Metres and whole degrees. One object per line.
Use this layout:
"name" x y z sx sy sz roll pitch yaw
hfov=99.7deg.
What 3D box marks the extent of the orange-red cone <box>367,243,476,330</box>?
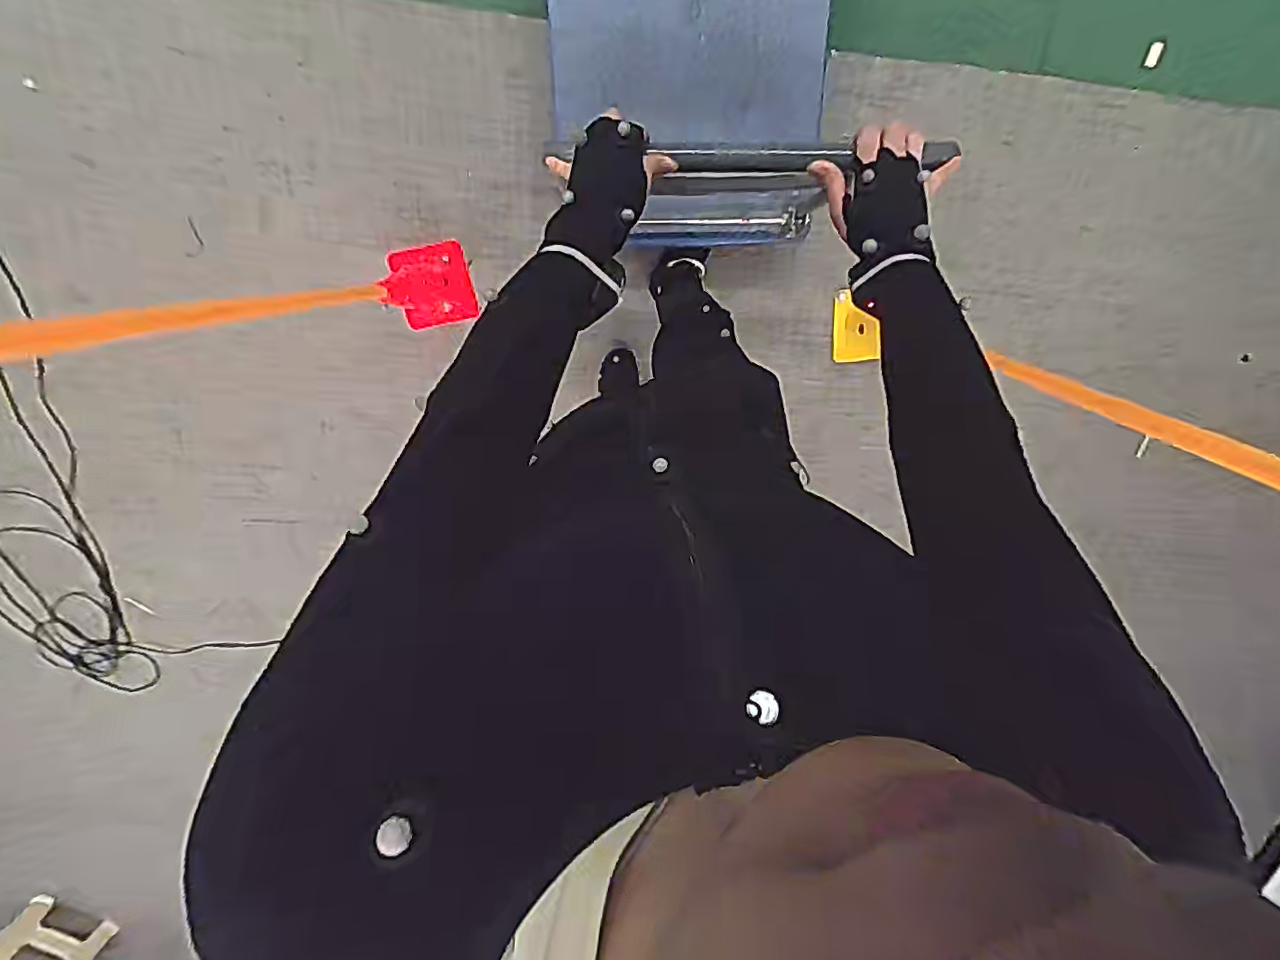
"orange-red cone" -0.541 -0.444 1.260 0.199 0.360 0.198 -10 111 3
